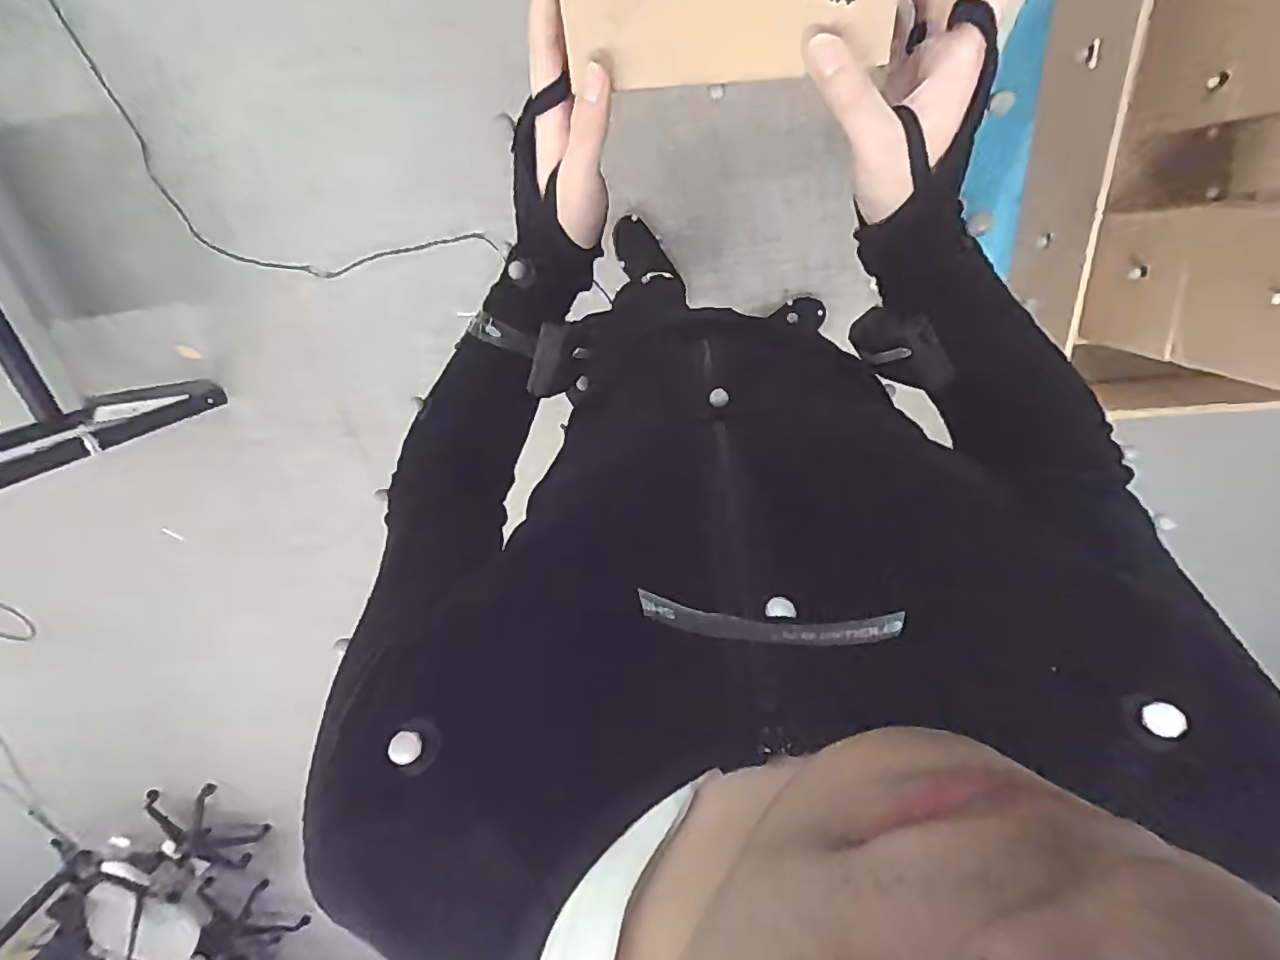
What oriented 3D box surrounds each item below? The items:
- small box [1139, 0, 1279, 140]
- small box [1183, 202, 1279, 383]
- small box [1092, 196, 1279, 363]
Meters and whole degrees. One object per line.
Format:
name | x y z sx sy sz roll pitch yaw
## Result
small box | 0.715 -0.498 0.598 0.168 0.176 0.179 -4 116 8
small box | 0.720 -0.198 0.551 0.168 0.176 0.179 -7 113 10
small box | 0.736 -0.262 0.701 0.168 0.176 0.179 -6 112 9
